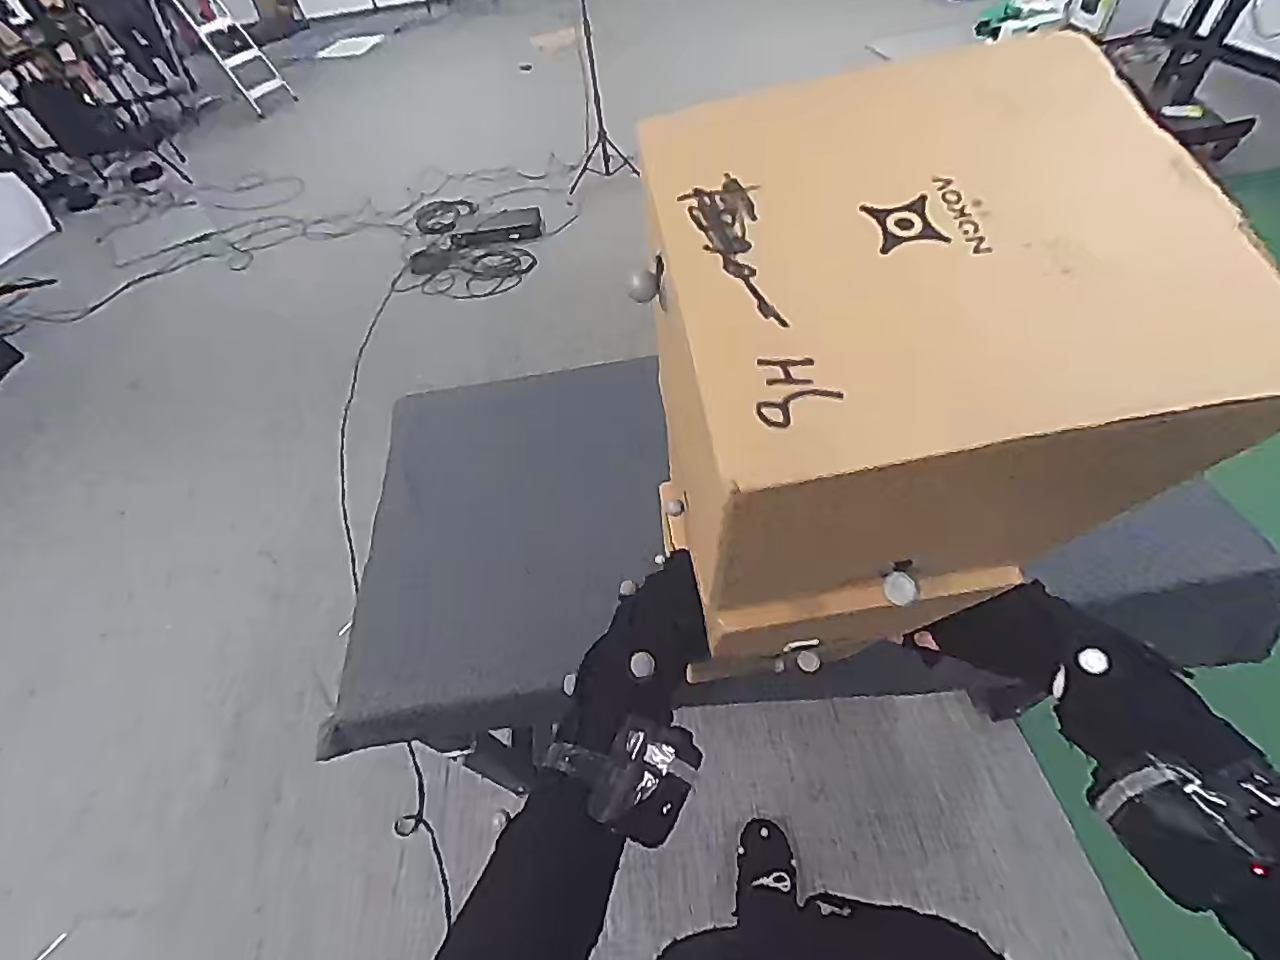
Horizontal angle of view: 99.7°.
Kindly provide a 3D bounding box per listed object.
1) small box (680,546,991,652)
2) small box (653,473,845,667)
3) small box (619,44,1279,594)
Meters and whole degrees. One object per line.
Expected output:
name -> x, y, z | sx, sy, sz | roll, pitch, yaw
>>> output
small box -> 0.106, 0.019, 0.401 | 0.168, 0.176, 0.179 | -9, 66, 2
small box -> 0.114, 0.087, 0.548 | 0.179, 0.176, 0.168 | -8, 65, 0
small box -> 0.092, -0.053, 0.255 | 0.179, 0.176, 0.168 | -9, 65, 2
